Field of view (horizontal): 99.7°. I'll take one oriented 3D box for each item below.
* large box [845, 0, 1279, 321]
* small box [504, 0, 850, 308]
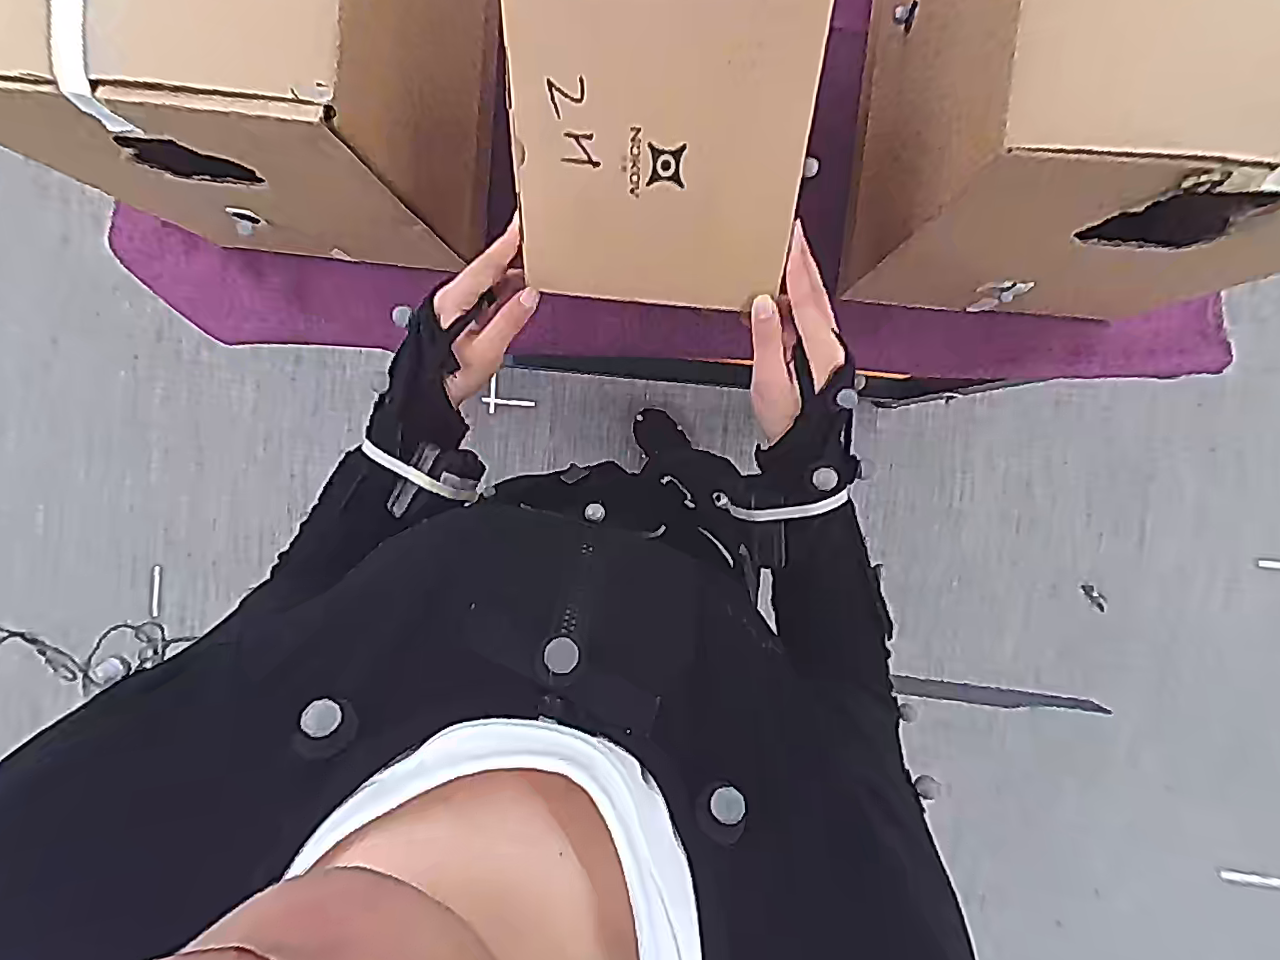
[{"bbox_3d":[0.382,-0.371,0.440,0.320,0.320,0.408,5,93,2],"label":"large box"},{"bbox_3d":[0.026,-0.233,0.371,0.179,0.176,0.168,9,126,8],"label":"small box"}]
